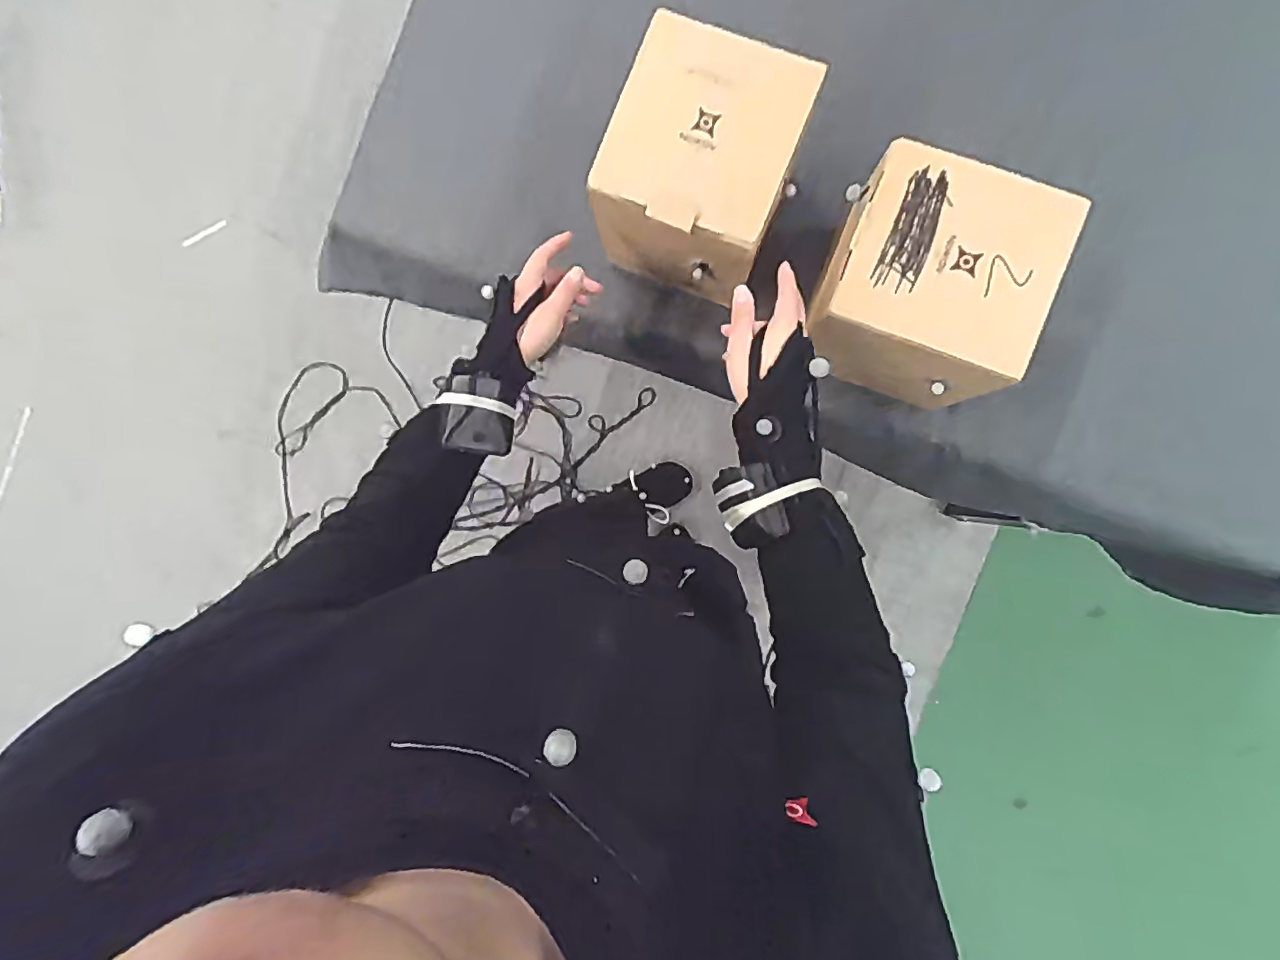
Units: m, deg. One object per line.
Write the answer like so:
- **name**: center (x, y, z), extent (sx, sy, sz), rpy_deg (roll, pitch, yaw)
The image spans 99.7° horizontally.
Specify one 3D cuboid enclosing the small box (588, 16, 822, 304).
- **small box**: center (0.063, -0.311, 0.565), extent (0.168, 0.176, 0.179), rpy_deg (22, 89, 3)
